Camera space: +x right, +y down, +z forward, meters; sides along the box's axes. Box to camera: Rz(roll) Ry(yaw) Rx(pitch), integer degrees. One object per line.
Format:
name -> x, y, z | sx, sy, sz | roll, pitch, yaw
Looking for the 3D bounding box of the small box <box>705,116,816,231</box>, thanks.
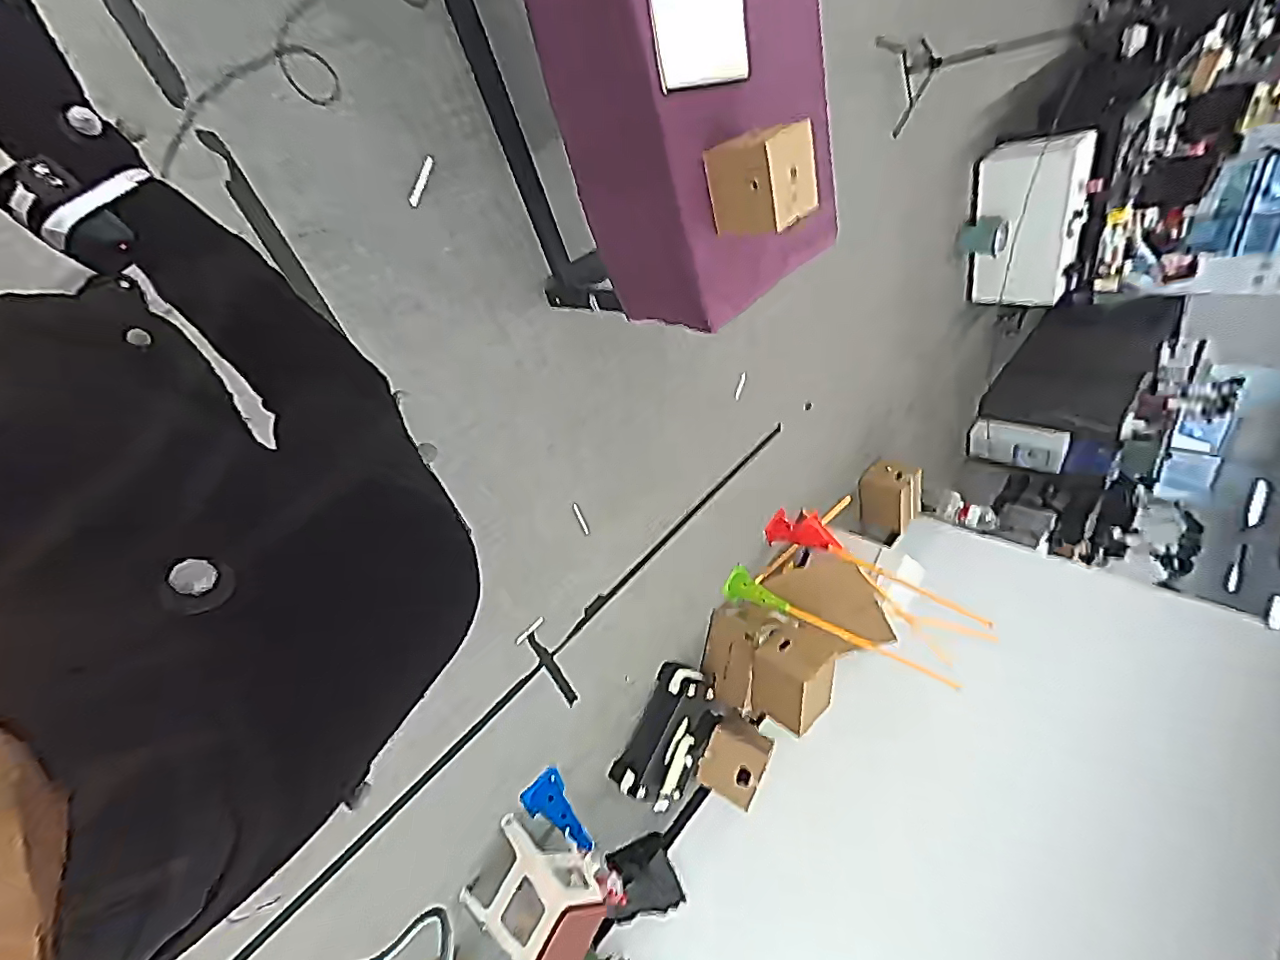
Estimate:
small box -> 0.264, -0.667, 1.192 | 0.168, 0.176, 0.179 | -40, 130, -27
